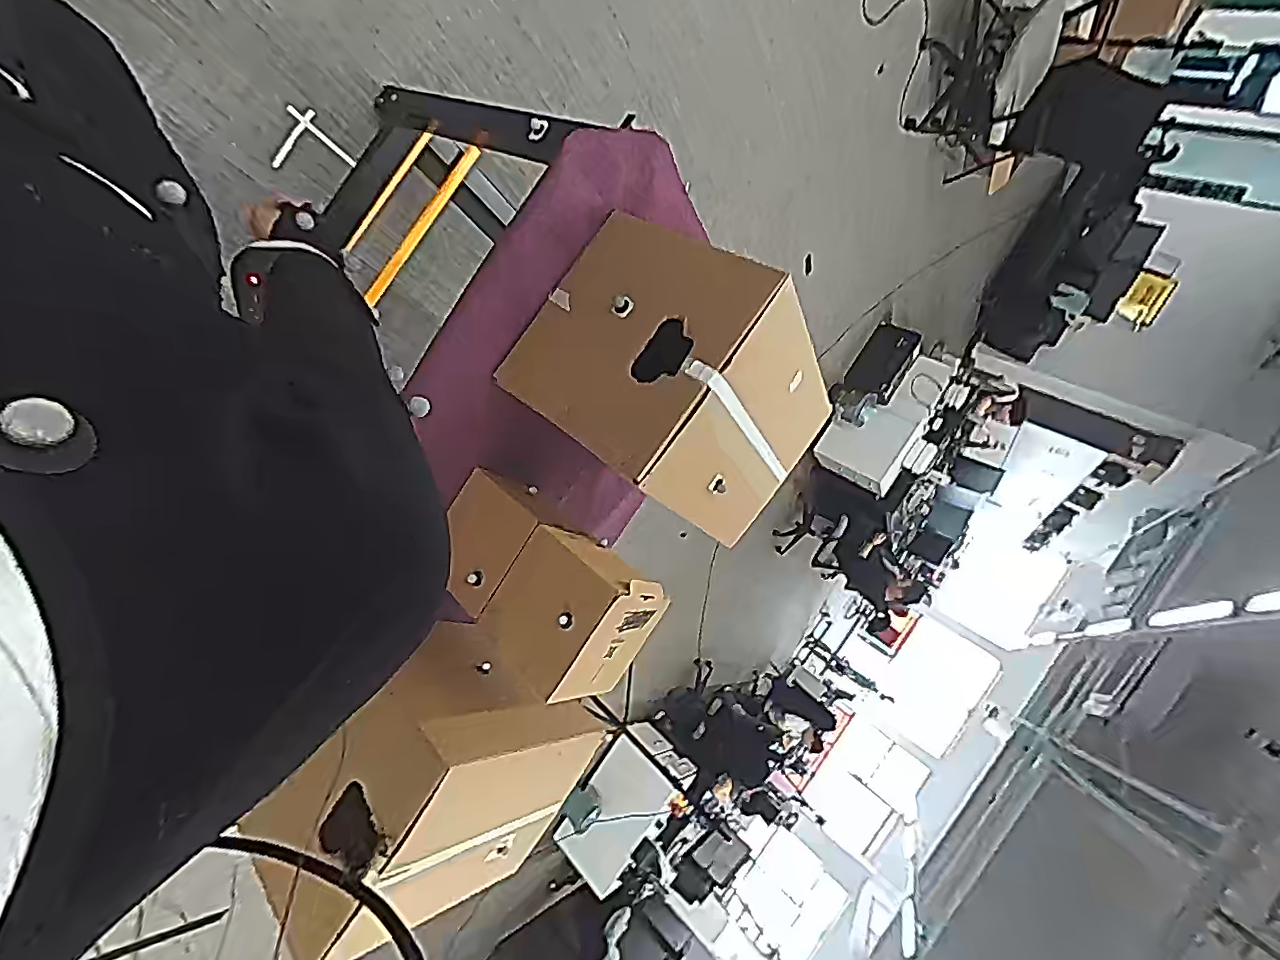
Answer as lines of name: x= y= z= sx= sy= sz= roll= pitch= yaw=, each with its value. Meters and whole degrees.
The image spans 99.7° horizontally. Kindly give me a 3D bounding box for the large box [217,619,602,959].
large box: x=-0.340 y=0.446 z=0.870 sx=0.320 sy=0.320 sz=0.408 roll=-56 pitch=151 yaw=0
